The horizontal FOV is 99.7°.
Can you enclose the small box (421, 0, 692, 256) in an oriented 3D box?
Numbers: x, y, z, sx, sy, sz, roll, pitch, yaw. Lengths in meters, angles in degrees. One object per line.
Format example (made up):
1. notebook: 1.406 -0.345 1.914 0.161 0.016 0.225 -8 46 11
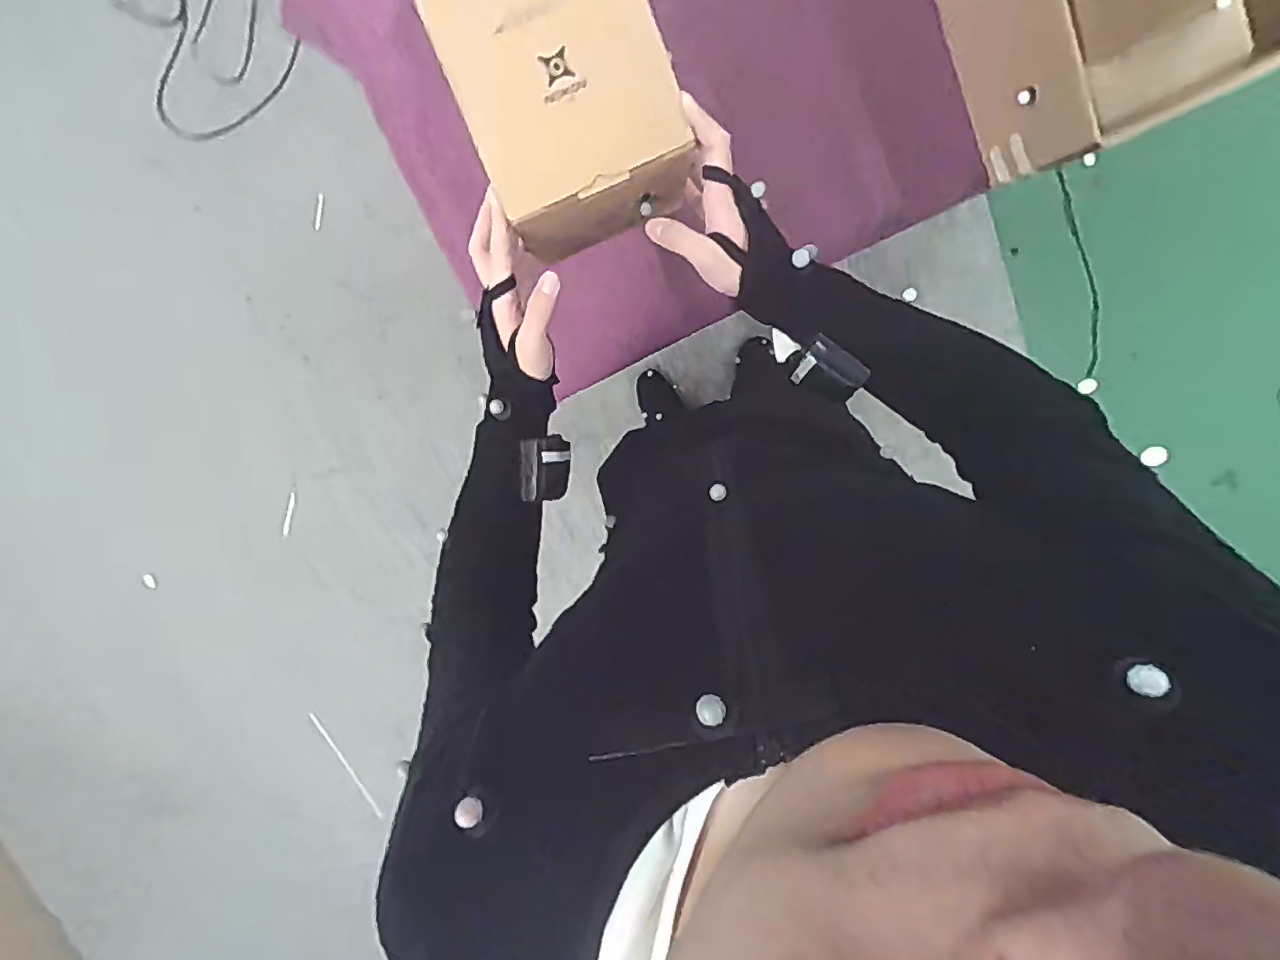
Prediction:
1. small box: -0.062 -0.327 0.500 0.168 0.176 0.179 -22 100 3
